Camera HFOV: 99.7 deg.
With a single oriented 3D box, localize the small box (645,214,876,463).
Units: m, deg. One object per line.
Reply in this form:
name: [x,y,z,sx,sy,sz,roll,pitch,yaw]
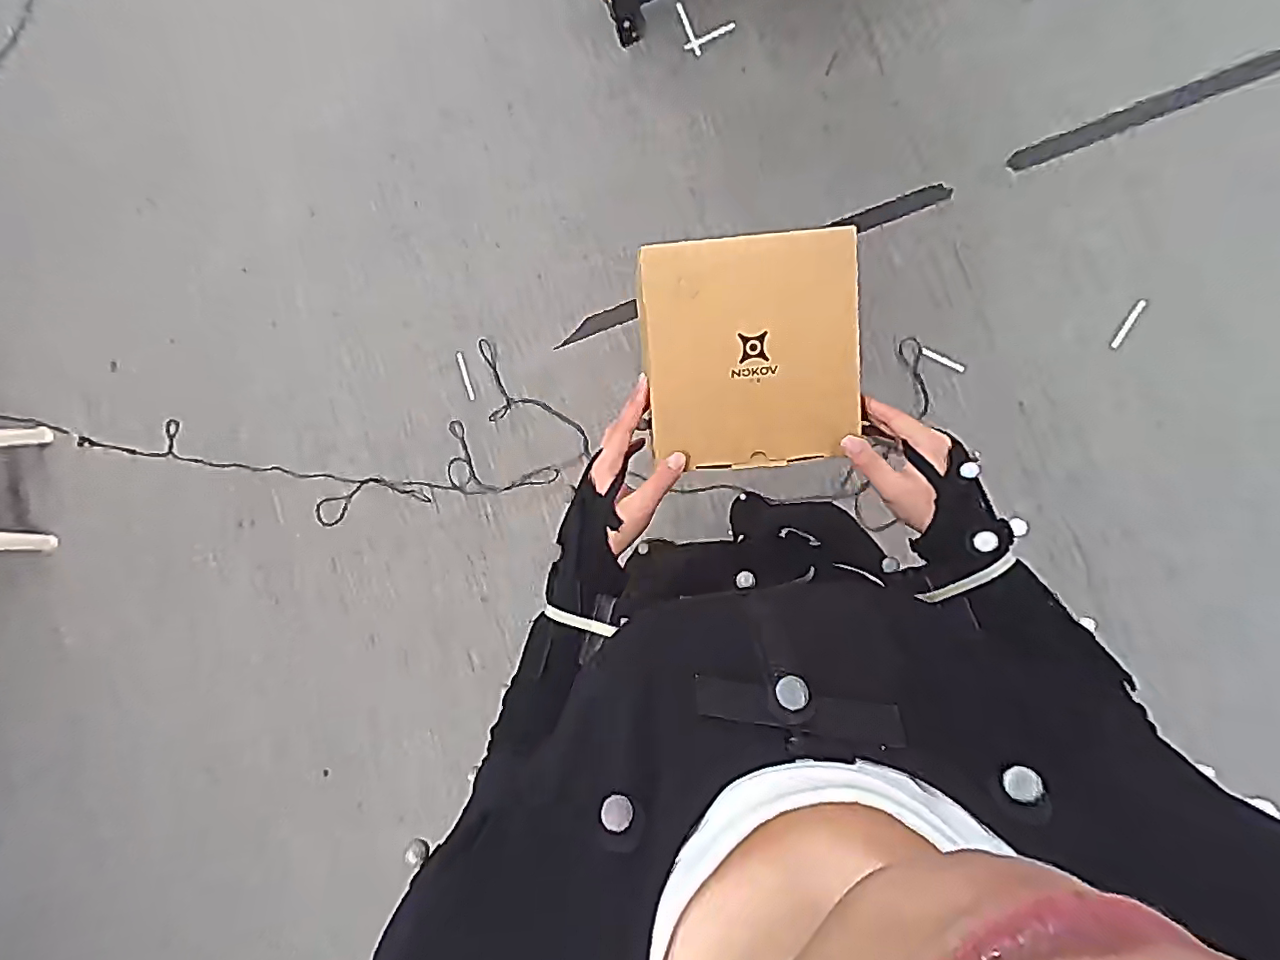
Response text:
small box: [0.094,-0.116,0.487,0.168,0.176,0.179,-5,99,0]
